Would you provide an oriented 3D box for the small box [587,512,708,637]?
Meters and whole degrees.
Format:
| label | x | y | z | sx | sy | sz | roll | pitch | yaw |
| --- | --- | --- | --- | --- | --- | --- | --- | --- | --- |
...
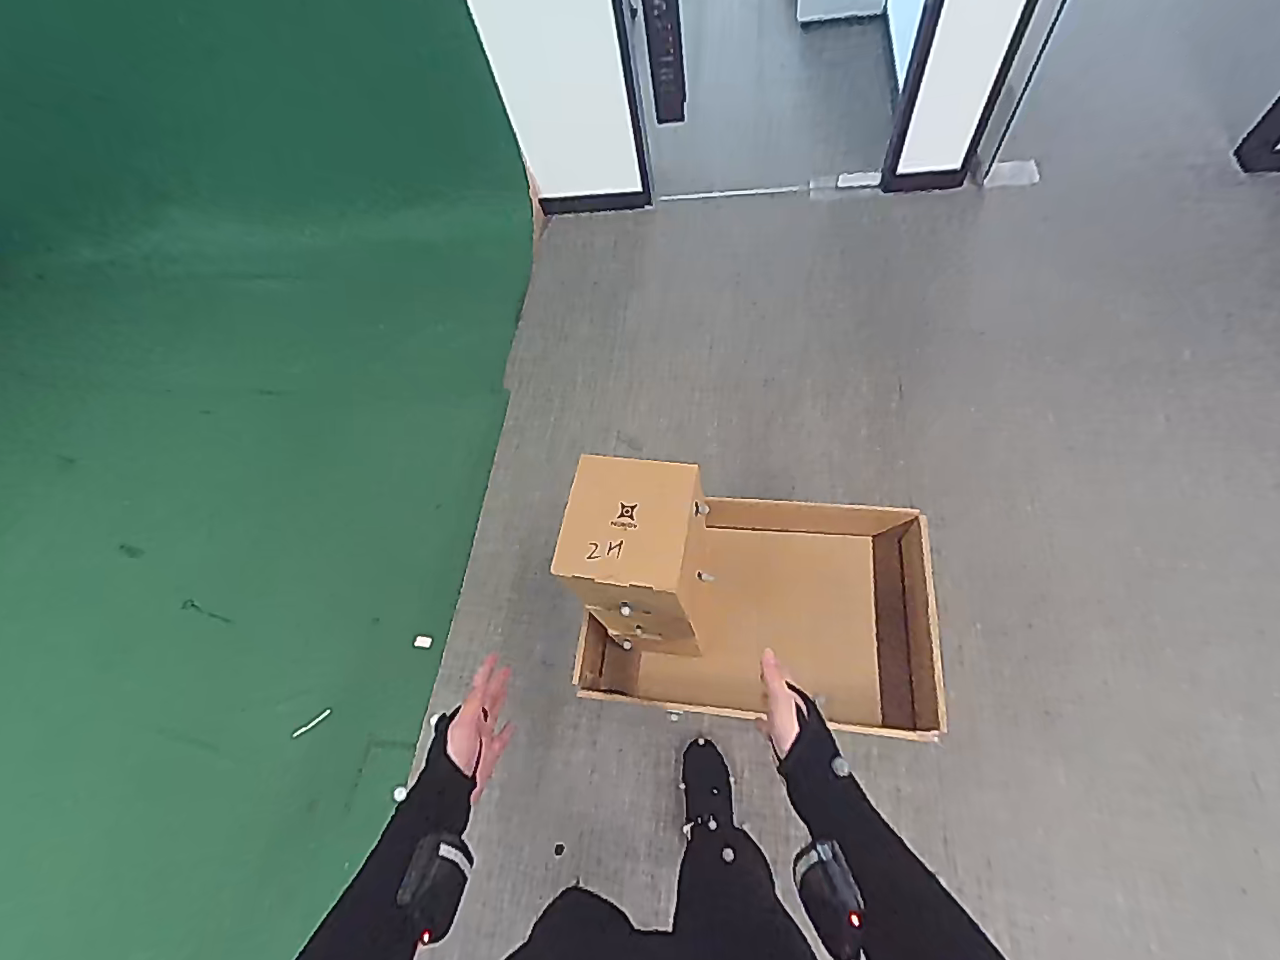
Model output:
| label | x | y | z | sx | sy | sz | roll | pitch | yaw |
| --- | --- | --- | --- | --- | --- | --- | --- | --- | --- |
| small box | 0.023 | 0.153 | 0.915 | 0.168 | 0.176 | 0.179 | 5 | 65 | 12 |

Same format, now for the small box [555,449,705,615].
| label | x | y | z | sx | sy | sz | roll | pitch | yaw |
| --- | --- | --- | --- | --- | --- | --- | --- | --- | --- |
| small box | -0.001 | 0.078 | 0.769 | 0.168 | 0.176 | 0.179 | 7 | 66 | 14 |
